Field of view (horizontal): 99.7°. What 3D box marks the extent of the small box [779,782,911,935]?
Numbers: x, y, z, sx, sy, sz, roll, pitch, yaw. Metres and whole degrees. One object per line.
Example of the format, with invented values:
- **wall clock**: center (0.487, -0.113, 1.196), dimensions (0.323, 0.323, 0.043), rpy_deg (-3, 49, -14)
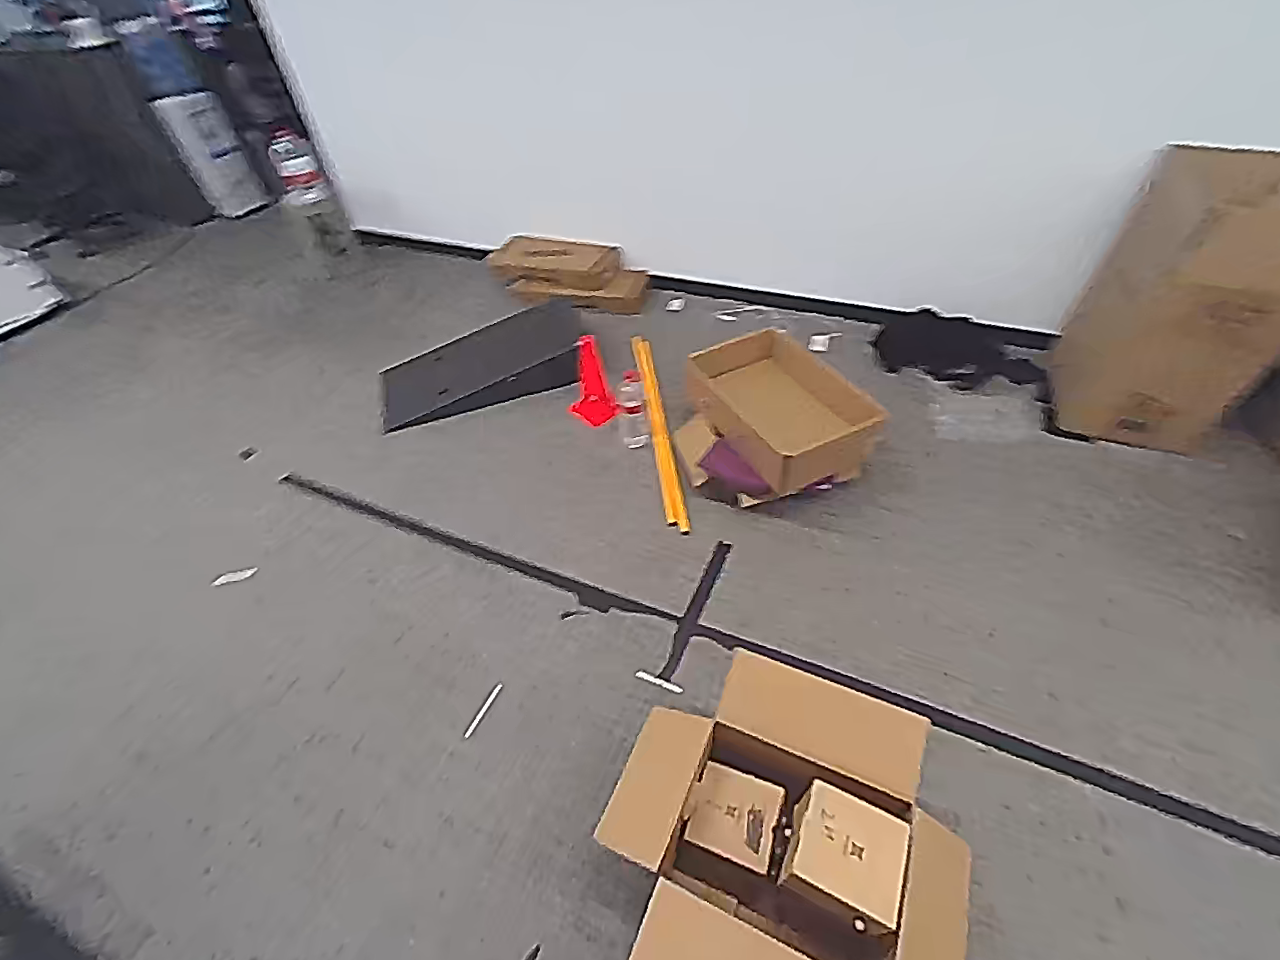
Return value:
- **small box**: center (0.374, 0.704, 1.003), dimensions (0.179, 0.176, 0.168), rpy_deg (19, 50, 21)
